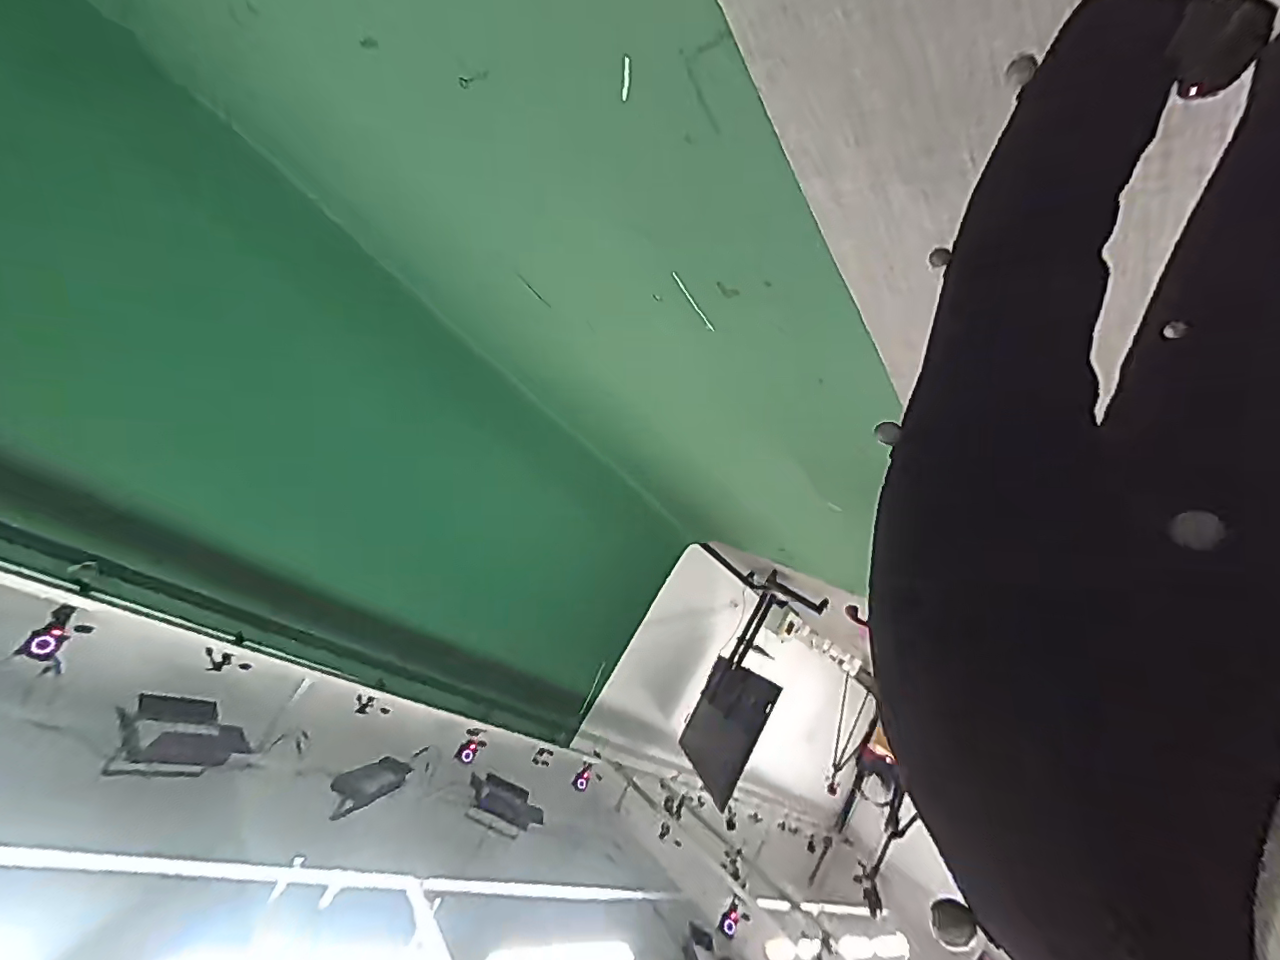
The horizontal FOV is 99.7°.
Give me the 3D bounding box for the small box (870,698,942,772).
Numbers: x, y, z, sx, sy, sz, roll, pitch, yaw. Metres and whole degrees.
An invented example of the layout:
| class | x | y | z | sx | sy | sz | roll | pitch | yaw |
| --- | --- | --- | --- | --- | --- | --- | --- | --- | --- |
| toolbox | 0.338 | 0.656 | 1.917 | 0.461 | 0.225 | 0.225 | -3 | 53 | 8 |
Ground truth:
| class | x | y | z | sx | sy | sz | roll | pitch | yaw |
| --- | --- | --- | --- | --- | --- | --- | --- | --- | --- |
| small box | 0.979 | 0.930 | 1.980 | 0.168 | 0.176 | 0.179 | 17 | 161 | 49 |
